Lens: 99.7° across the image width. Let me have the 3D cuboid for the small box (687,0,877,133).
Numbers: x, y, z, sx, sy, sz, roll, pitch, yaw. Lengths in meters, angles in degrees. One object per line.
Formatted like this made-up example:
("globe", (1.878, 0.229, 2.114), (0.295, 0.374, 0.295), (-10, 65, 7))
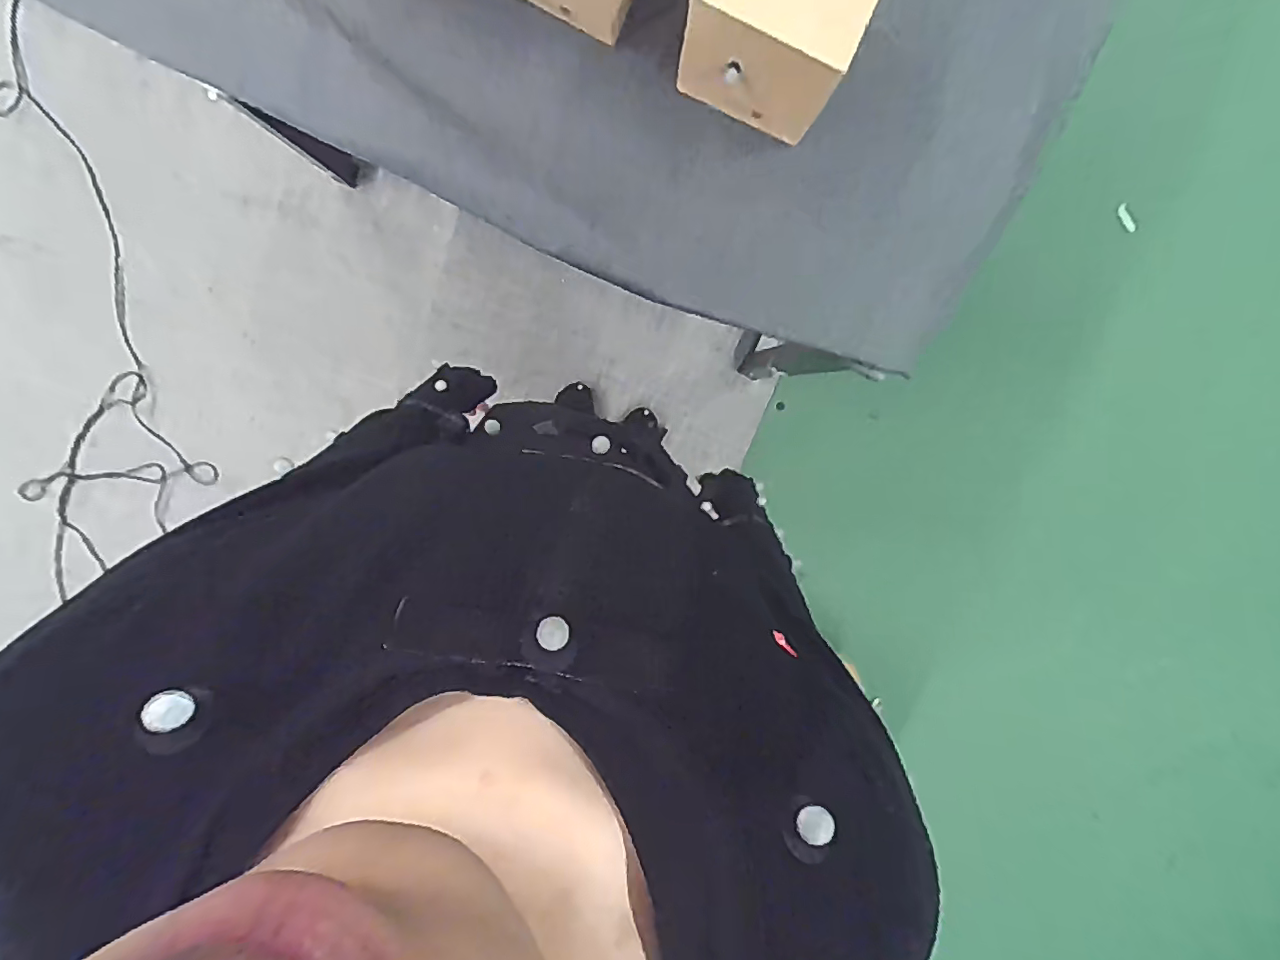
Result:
("small box", (0.157, -0.515, 0.572), (0.168, 0.176, 0.179), (23, 98, -5))
